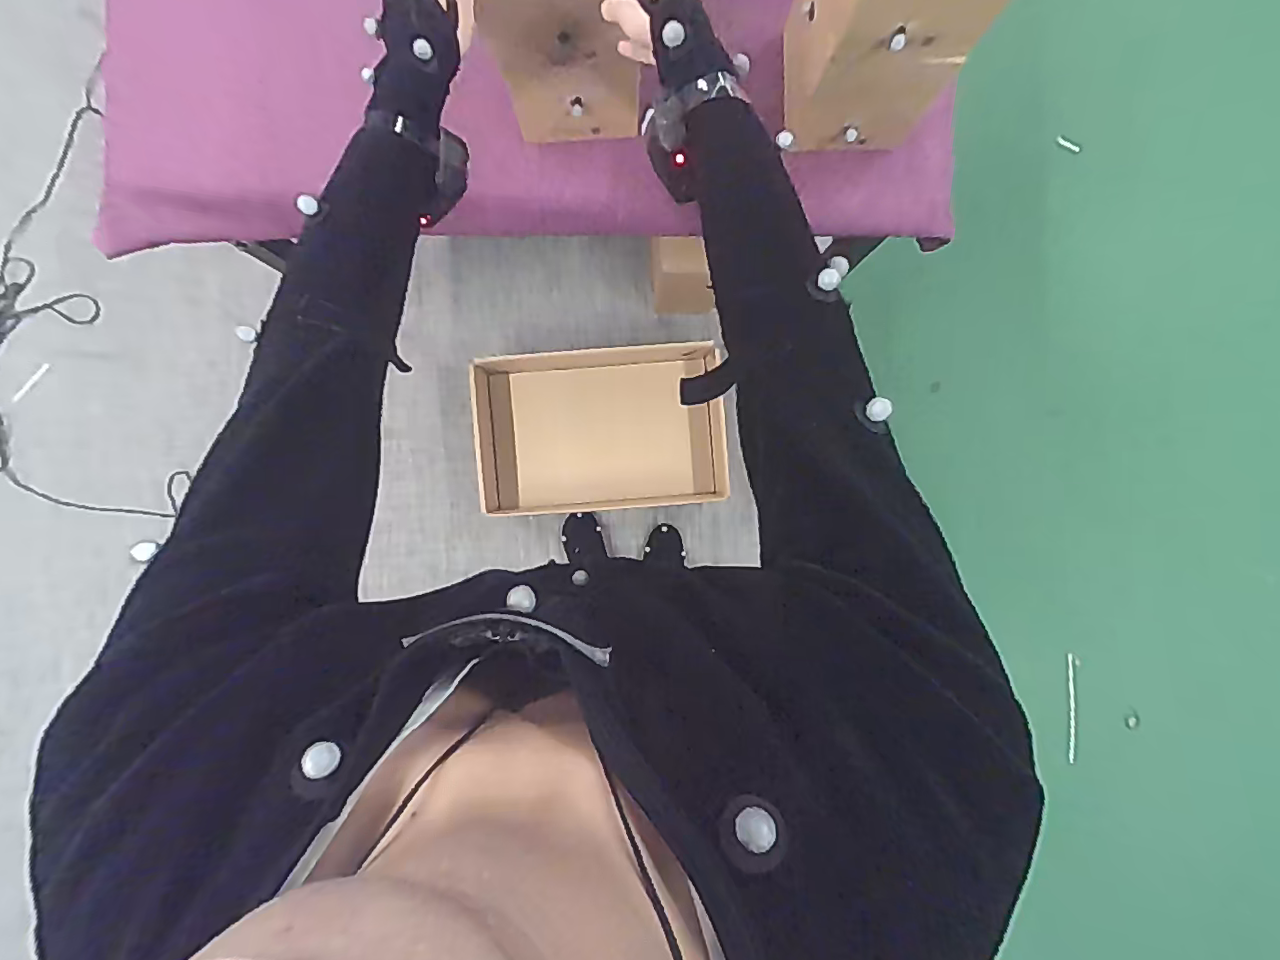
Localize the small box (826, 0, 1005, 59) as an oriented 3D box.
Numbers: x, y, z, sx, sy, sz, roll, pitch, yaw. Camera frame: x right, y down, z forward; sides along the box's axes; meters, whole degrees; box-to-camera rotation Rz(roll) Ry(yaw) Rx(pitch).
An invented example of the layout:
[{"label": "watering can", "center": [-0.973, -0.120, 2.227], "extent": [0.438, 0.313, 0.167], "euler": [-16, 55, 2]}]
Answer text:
[{"label": "small box", "center": [0.292, -0.572, 0.540], "extent": [0.168, 0.176, 0.179], "euler": [-3, 89, 0]}]

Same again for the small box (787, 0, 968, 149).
[{"label": "small box", "center": [0.294, -0.569, 0.703], "extent": [0.168, 0.176, 0.179], "euler": [-1, 89, 0]}]

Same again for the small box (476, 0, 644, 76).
[{"label": "small box", "center": [-0.090, -0.543, 0.522], "extent": [0.168, 0.176, 0.179], "euler": [-10, 100, 1]}]

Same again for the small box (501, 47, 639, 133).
[{"label": "small box", "center": [-0.087, -0.578, 0.696], "extent": [0.168, 0.176, 0.179], "euler": [-5, 90, -1]}]
